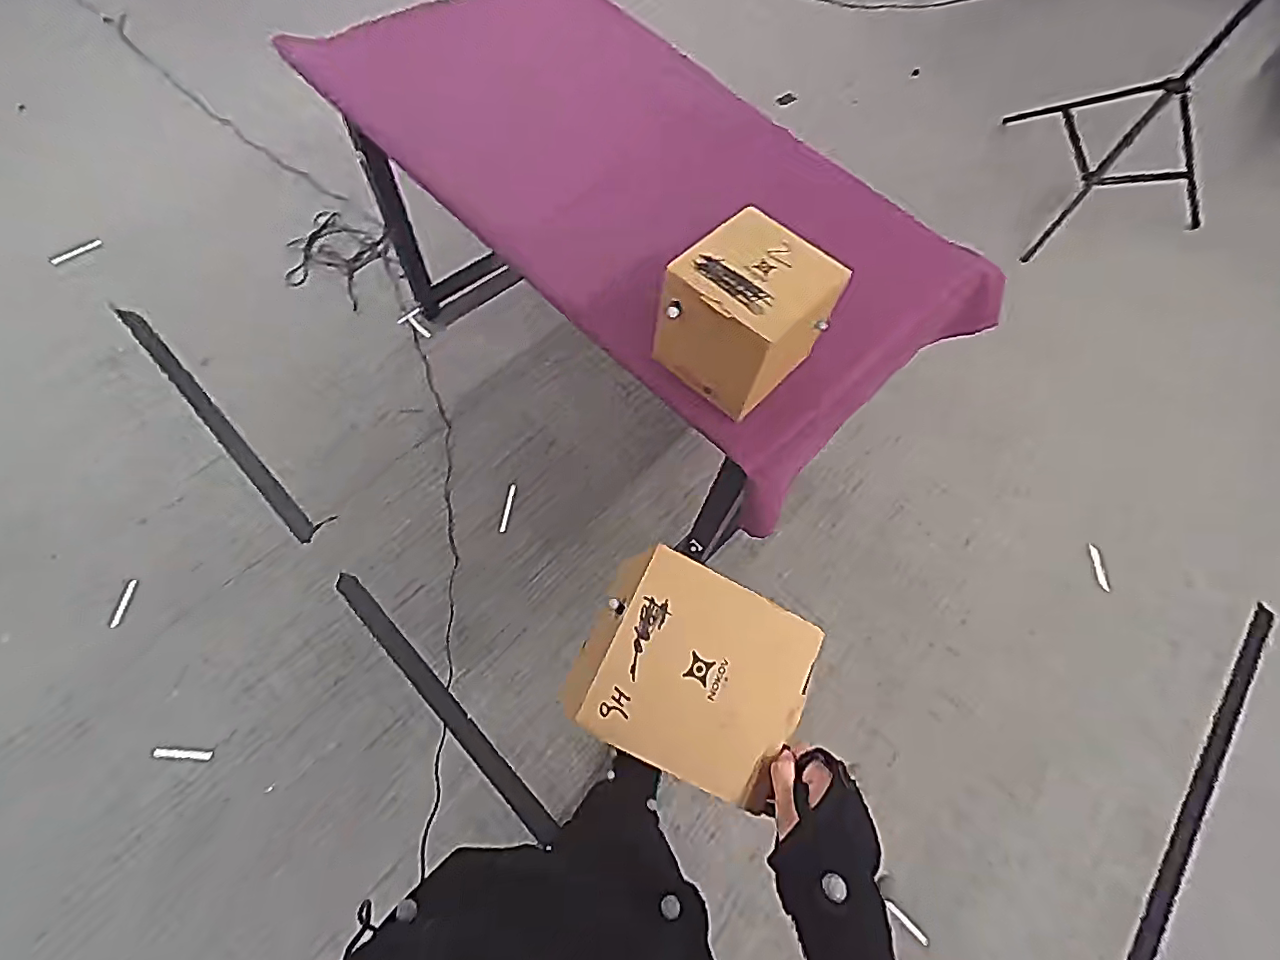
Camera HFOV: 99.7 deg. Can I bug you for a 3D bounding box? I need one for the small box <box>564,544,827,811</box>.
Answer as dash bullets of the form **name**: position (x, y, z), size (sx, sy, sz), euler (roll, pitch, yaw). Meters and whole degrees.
- **small box**: position (0.042, 0.179, 0.531), size (0.179, 0.176, 0.168), euler (28, 72, -5)
